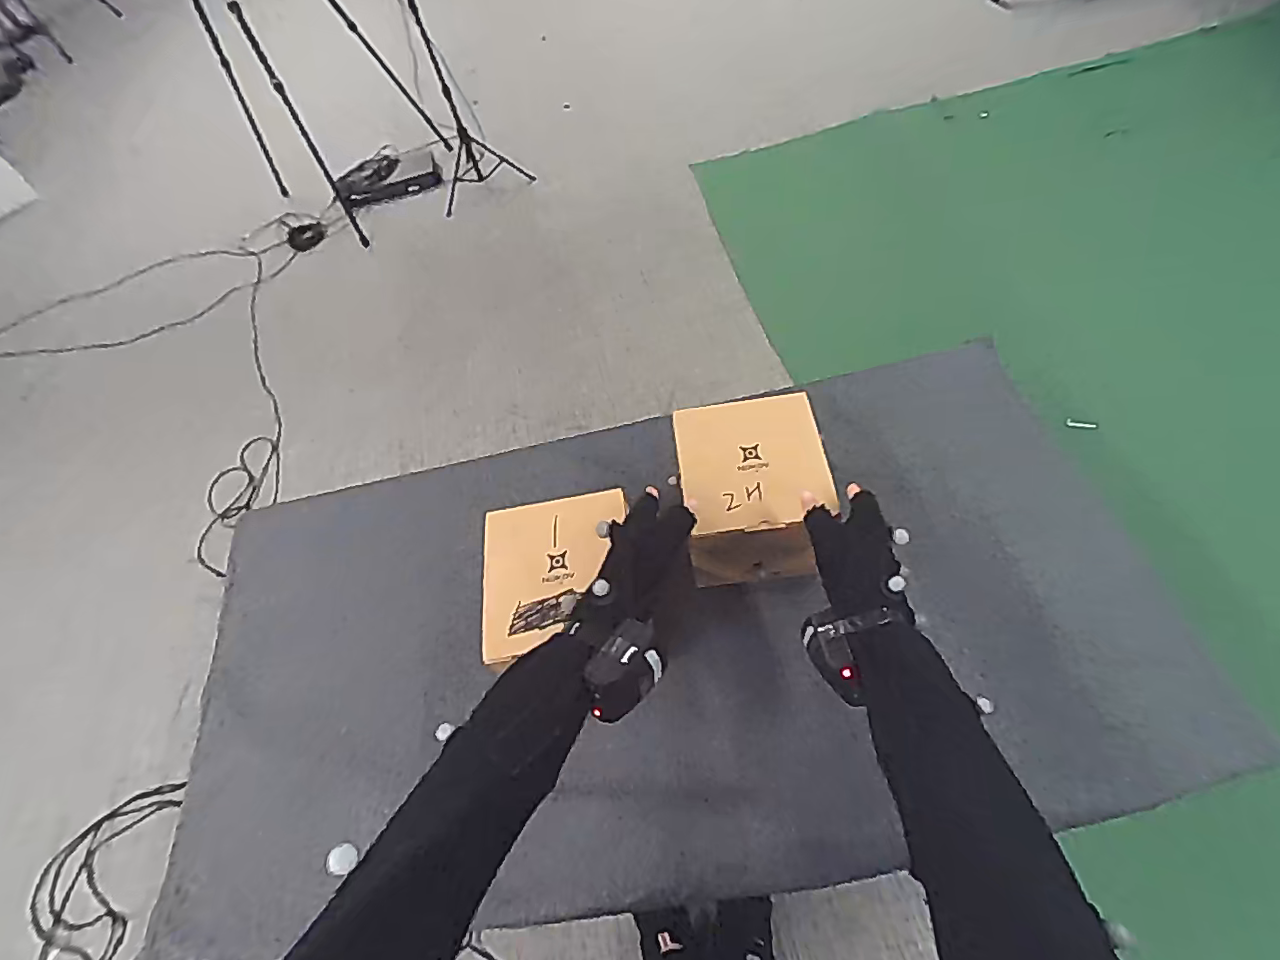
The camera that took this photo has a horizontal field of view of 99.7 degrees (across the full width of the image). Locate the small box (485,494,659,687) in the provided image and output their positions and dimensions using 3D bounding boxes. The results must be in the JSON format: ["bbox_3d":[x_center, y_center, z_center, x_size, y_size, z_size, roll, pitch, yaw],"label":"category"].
[{"bbox_3d":[-0.076,0.143,0.656,0.168,0.176,0.179,-11,58,3],"label":"small box"}]

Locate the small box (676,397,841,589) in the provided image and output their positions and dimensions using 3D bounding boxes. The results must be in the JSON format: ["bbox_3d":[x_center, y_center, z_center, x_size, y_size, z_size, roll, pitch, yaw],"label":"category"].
[{"bbox_3d":[0.139,0.022,0.691,0.168,0.176,0.179,-8,59,5],"label":"small box"}]
